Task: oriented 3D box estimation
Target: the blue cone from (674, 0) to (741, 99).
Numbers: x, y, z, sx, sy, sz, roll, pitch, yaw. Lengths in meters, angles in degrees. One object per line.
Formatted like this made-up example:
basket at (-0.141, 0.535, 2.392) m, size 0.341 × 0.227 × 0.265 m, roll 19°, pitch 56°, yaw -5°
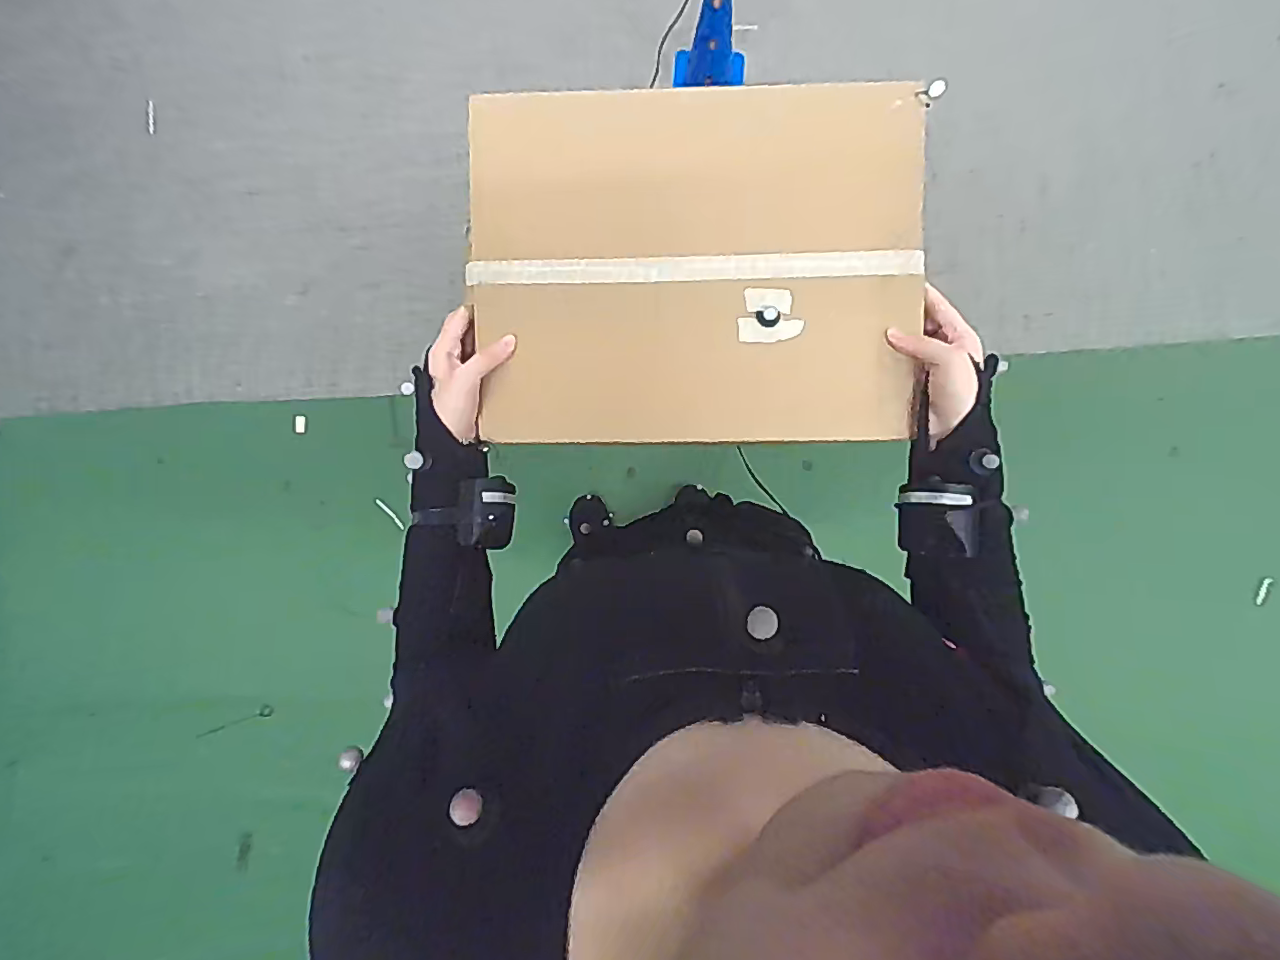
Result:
blue cone at (0.187, -1.124, 1.397) m, size 0.193 × 0.380 × 0.192 m, roll 6°, pitch 88°, yaw 2°

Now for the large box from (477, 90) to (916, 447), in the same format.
large box at (0.053, -0.201, 0.645) m, size 0.408 × 0.320 × 0.320 m, roll -1°, pitch 94°, yaw 1°
